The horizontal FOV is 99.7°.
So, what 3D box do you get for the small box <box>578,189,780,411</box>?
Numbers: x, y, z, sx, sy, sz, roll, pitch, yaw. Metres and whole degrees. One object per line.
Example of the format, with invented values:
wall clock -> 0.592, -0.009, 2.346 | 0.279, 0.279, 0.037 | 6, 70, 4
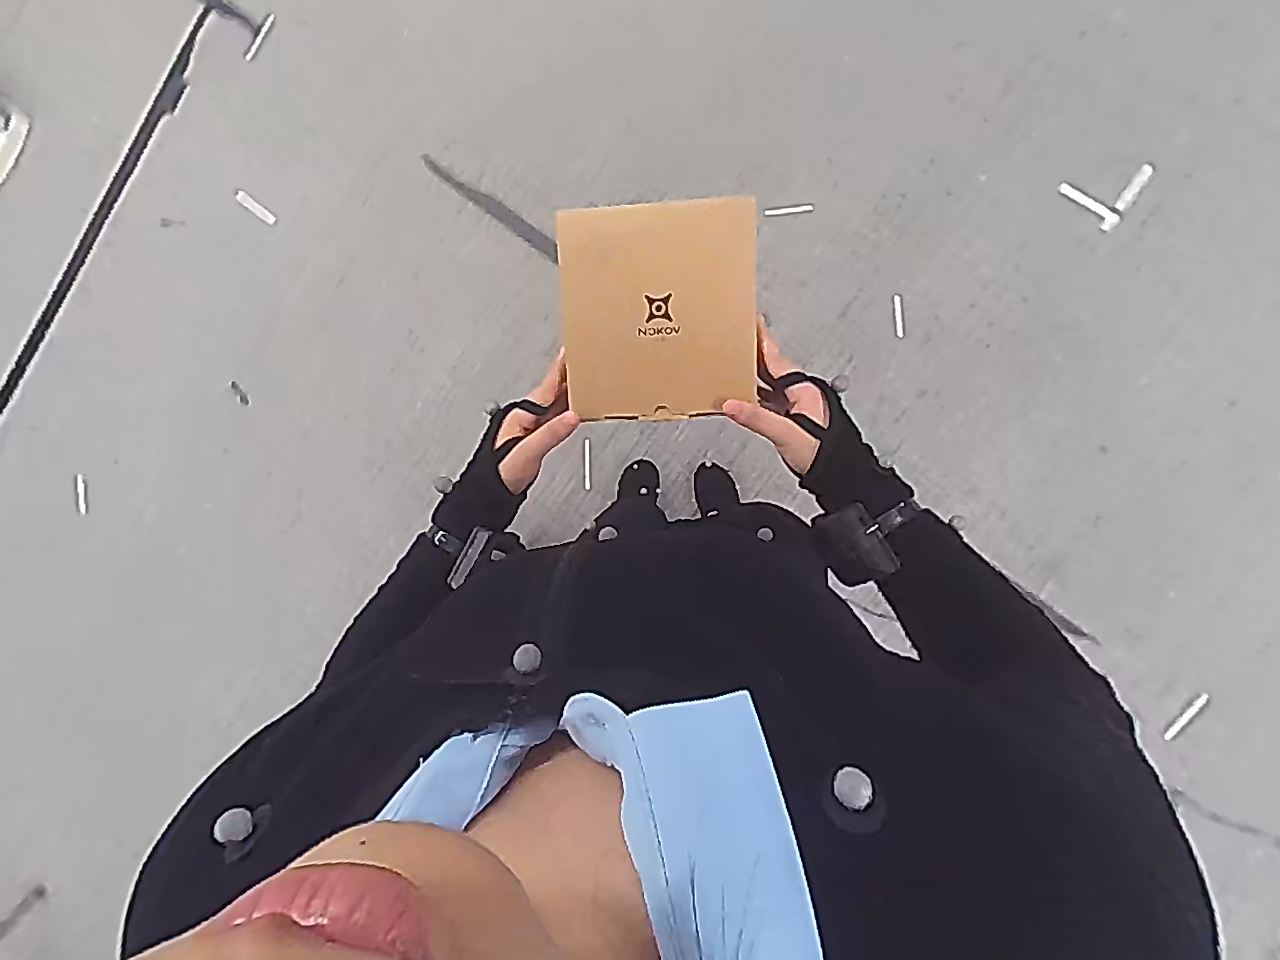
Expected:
small box -> 0.036, -0.161, 0.526 | 0.168, 0.176, 0.179 | 0, 102, 4
